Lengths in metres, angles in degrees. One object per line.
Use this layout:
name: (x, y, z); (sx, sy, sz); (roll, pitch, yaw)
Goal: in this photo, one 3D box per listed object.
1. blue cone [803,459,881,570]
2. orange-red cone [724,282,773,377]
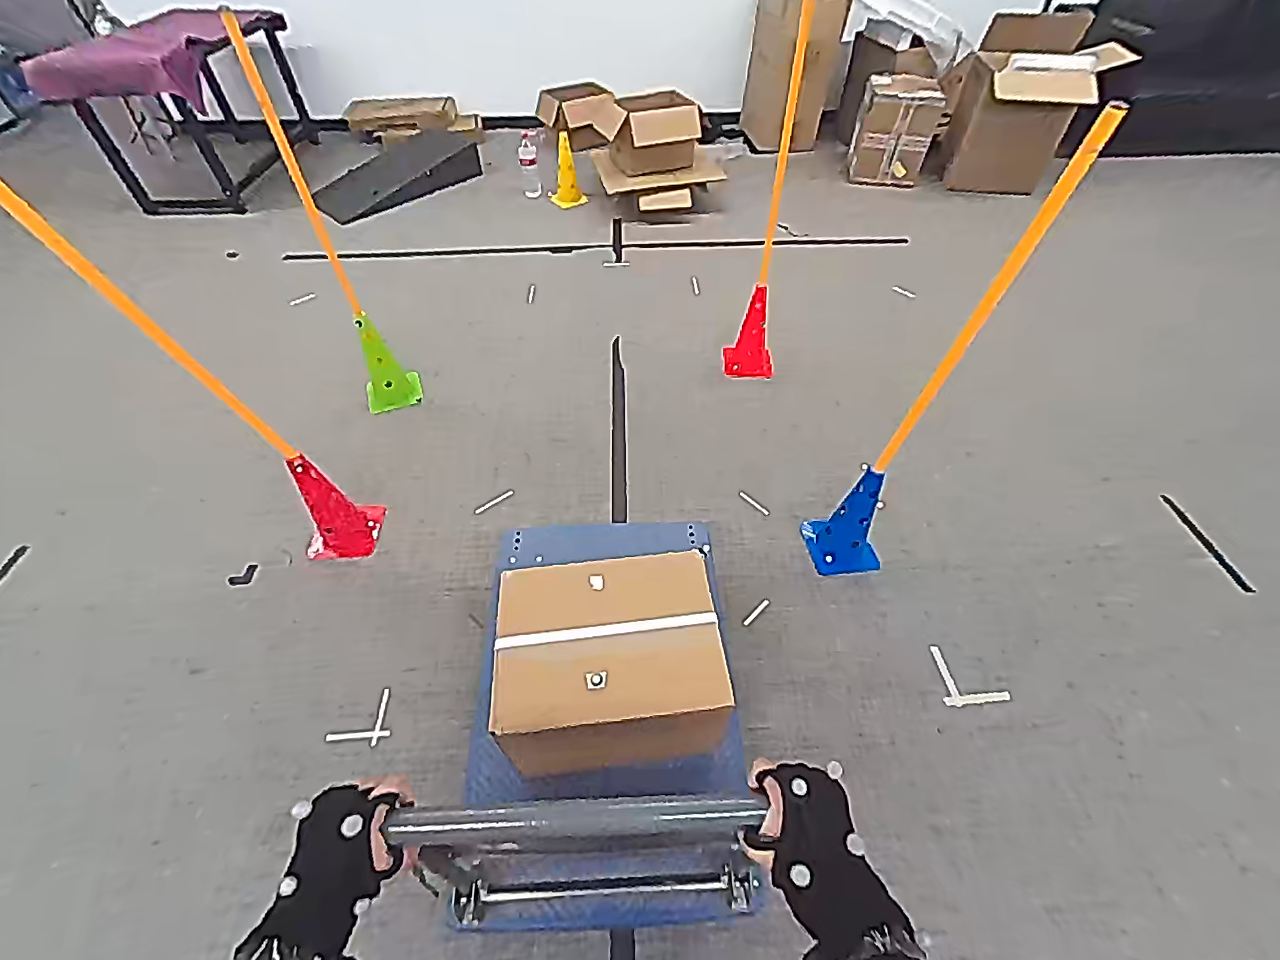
blue cone: (0.620, 0.086, 1.558); (0.193, 0.380, 0.192); (-5, 49, -5)
orange-red cone: (0.454, -0.607, 2.126); (0.199, 0.360, 0.198); (4, 50, 2)
